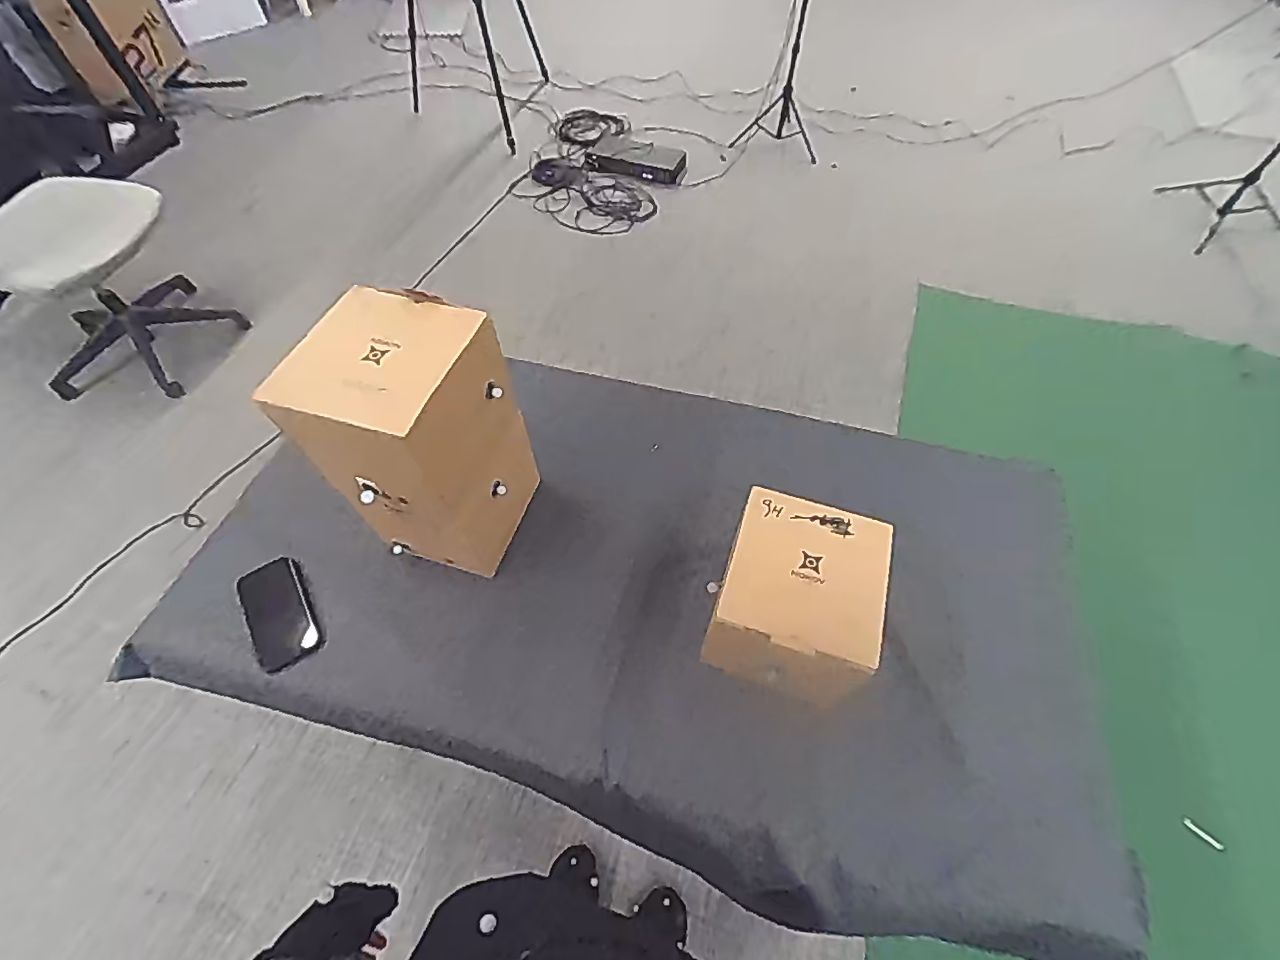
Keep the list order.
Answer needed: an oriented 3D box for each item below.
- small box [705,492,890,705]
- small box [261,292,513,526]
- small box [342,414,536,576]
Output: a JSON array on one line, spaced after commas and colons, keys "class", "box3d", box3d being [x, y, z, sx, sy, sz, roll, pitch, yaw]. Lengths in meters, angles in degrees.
[{"class": "small box", "box3d": [0.180, 0.148, 0.650, 0.168, 0.176, 0.179, 16, 58, 11]}, {"class": "small box", "box3d": [-0.257, -0.076, 0.606, 0.168, 0.176, 0.179, 13, 58, 10]}, {"class": "small box", "box3d": [-0.256, 0.009, 0.744, 0.168, 0.176, 0.179, 15, 57, 10]}]
